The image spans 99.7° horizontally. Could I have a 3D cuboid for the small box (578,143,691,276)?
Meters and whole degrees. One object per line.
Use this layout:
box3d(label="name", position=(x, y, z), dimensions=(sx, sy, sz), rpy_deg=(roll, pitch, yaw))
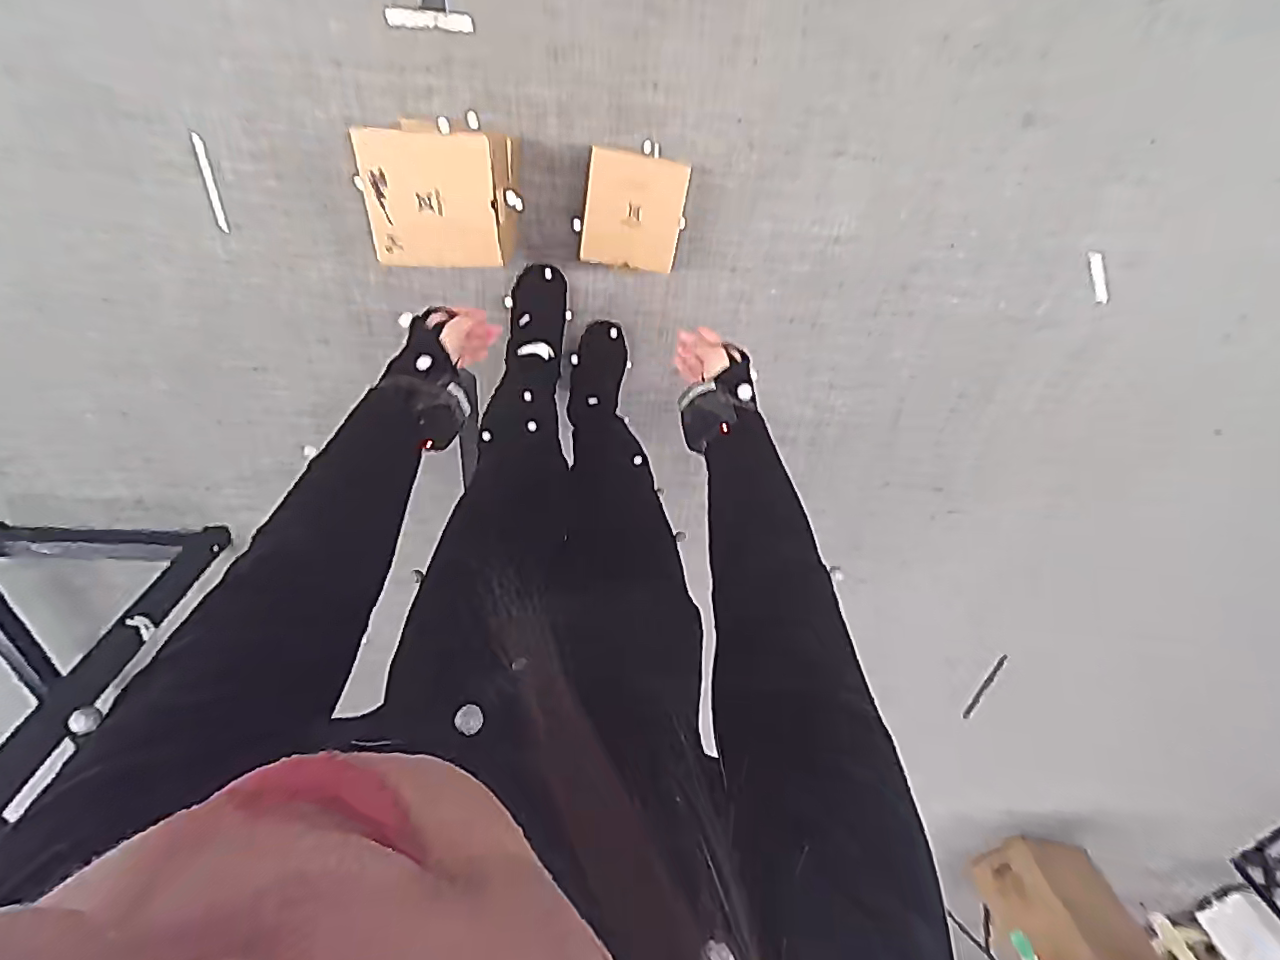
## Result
box3d(label="small box", position=(-0.018, -0.489, 0.974), dimensions=(0.168, 0.176, 0.179), rpy_deg=(6, 122, -11))

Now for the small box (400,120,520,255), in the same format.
box3d(label="small box", position=(-0.297, -0.504, 0.930), dimensions=(0.168, 0.176, 0.179), rpy_deg=(3, 123, -9))

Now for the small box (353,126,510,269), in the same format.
box3d(label="small box", position=(-0.287, -0.416, 0.792), dimensions=(0.179, 0.176, 0.168), rpy_deg=(-1, 123, -7))
